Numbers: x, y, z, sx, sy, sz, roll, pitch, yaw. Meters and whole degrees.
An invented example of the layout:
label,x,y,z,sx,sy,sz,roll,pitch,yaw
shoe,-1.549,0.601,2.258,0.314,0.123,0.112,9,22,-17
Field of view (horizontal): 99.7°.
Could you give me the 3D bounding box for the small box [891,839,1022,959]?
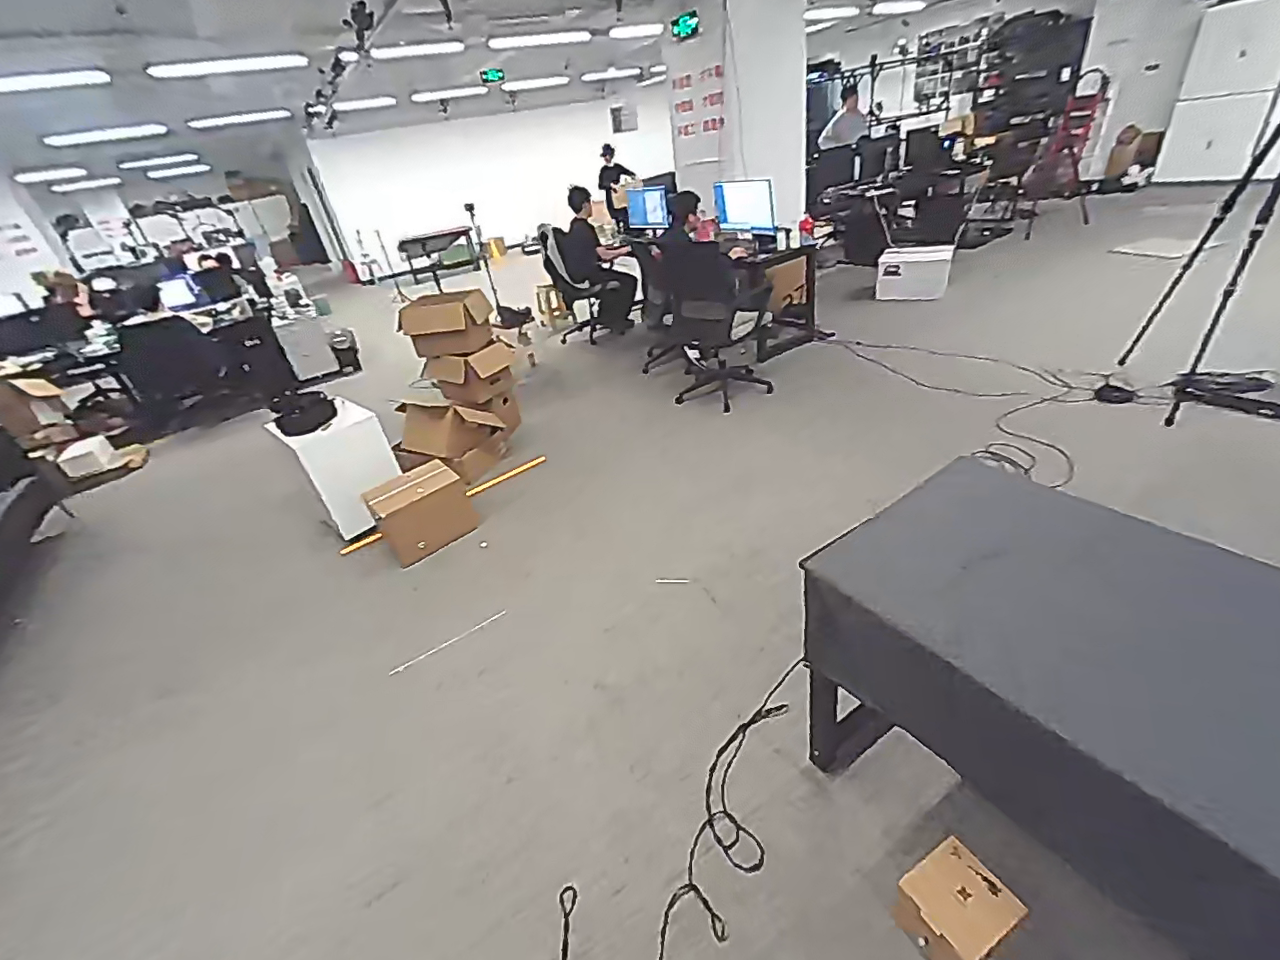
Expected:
label,x,y,z,sx,sy,sz,roll,pitch,yaw
small box,0.648,0.913,1.127,0.179,0.176,0.168,-22,33,-19
